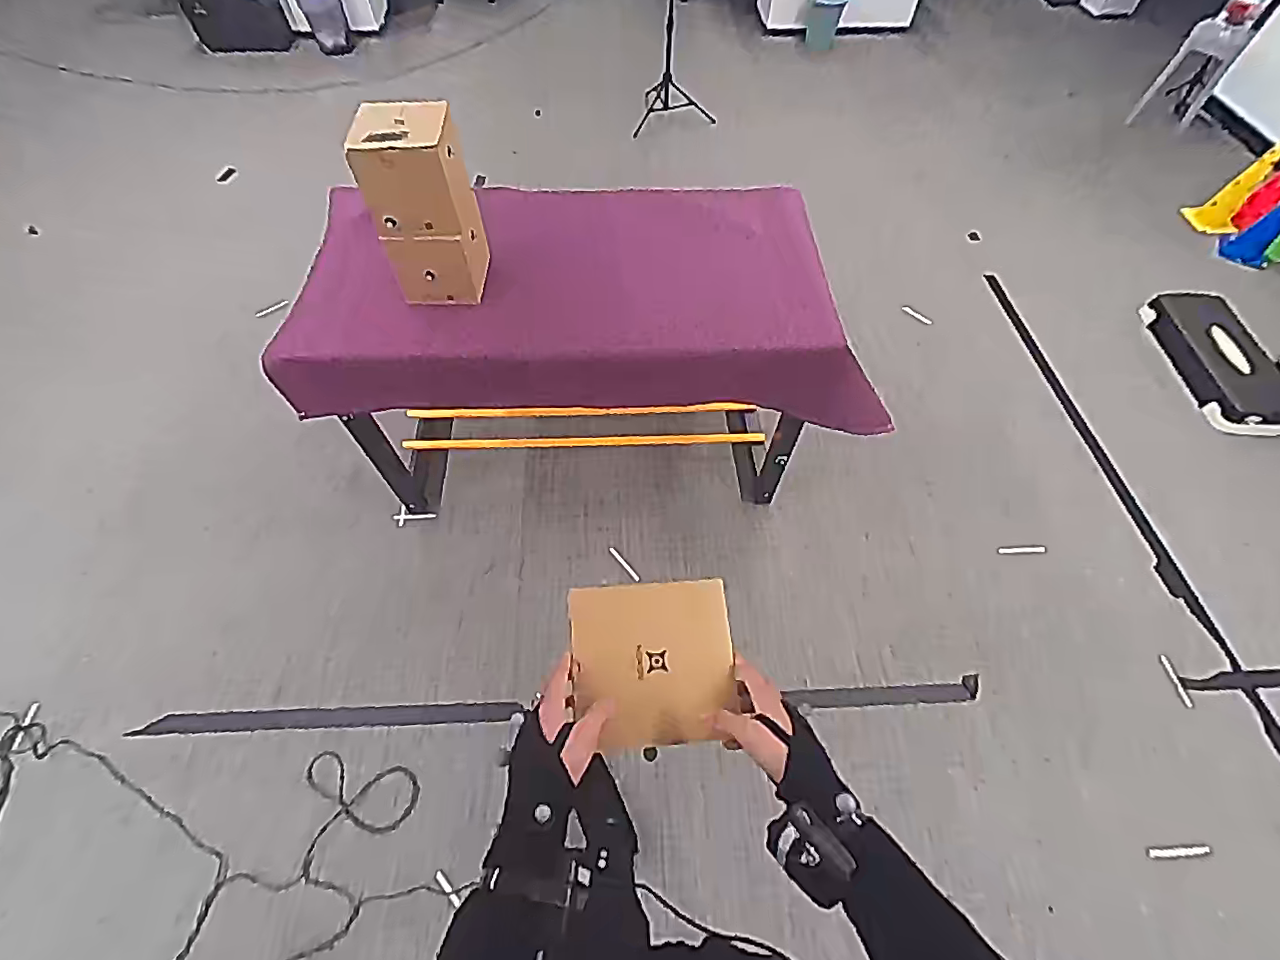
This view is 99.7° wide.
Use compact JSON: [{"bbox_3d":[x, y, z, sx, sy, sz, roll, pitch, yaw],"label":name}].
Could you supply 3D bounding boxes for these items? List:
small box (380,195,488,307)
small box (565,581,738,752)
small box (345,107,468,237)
[{"bbox_3d":[-0.443,-0.502,1.196,0.168,0.176,0.179,1,58,-1],"label":"small box"},{"bbox_3d":[0.006,0.220,0.650,0.179,0.176,0.168,-4,70,-3],"label":"small box"},{"bbox_3d":[-0.444,-0.598,1.062,0.168,0.176,0.179,-3,58,-4],"label":"small box"}]
